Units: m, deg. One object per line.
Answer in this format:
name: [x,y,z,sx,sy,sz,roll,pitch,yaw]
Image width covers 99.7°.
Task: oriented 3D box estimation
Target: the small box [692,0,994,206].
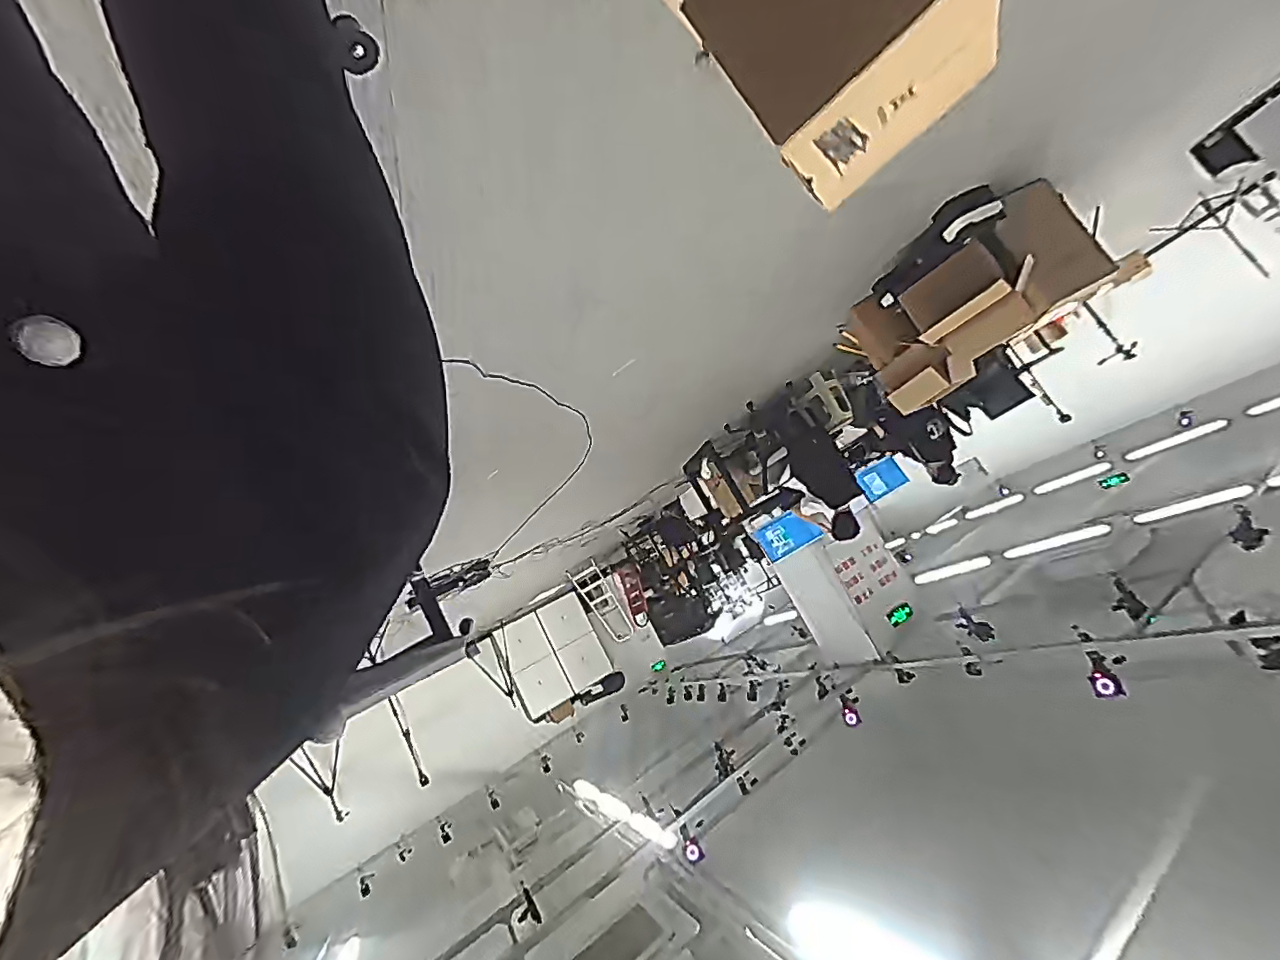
small box: [0.167,-0.387,0.469,0.179,0.176,0.168,-36,167,34]
